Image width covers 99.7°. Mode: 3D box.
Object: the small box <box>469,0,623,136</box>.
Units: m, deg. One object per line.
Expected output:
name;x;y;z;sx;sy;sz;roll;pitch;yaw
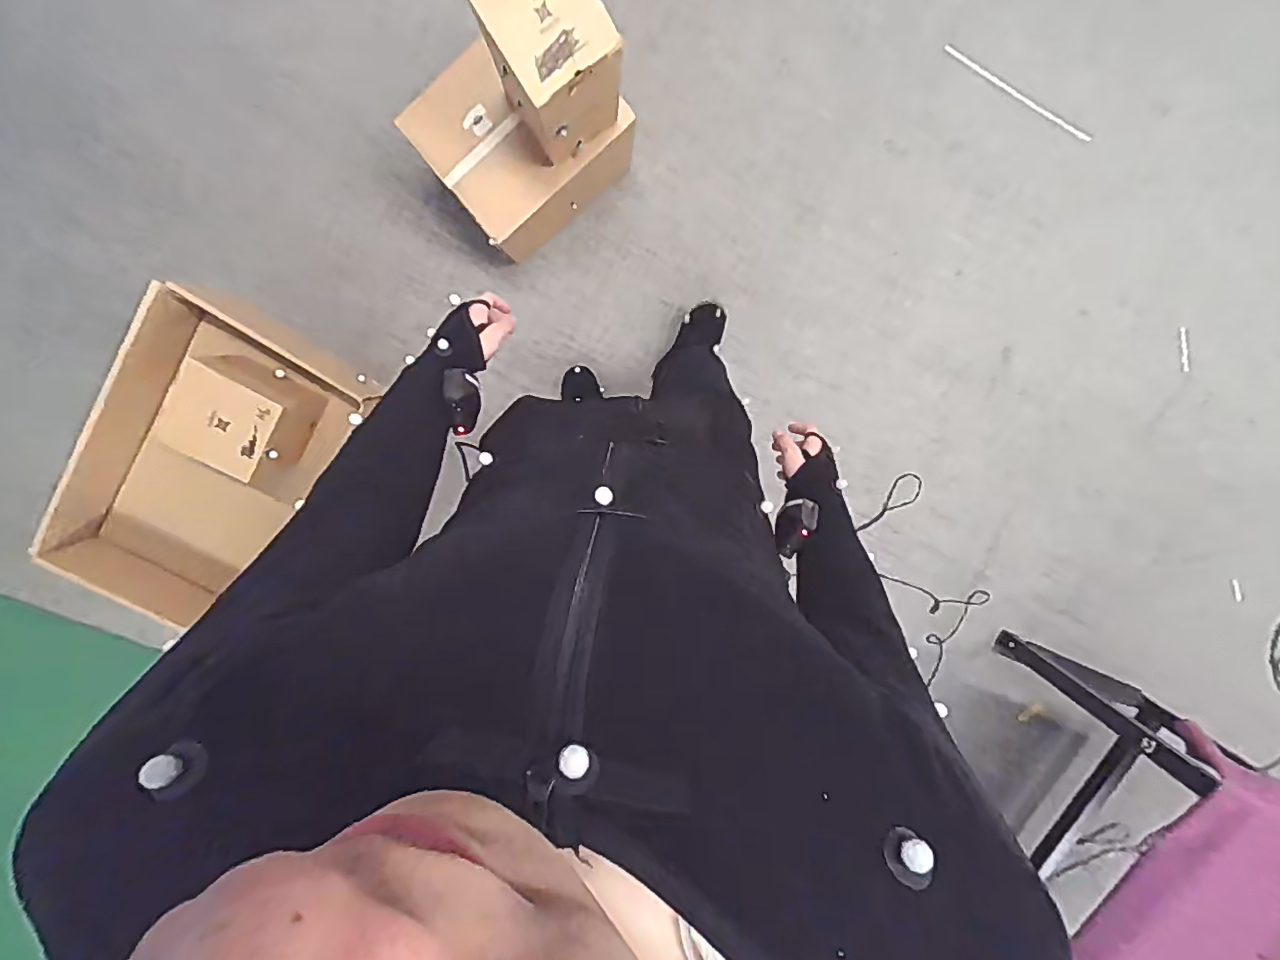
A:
small box;-0.141;-0.698;0.879;0.168;0.176;0.179;-33;104;5

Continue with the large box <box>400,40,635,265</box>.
large box;-0.262;-0.778;1.272;0.408;0.320;0.320;-40;102;7

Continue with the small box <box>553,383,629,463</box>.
small box;-0.135;-0.163;1.533;0.168;0.176;0.179;18;98;-1

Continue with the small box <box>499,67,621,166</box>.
small box;-0.153;-0.746;1.034;0.168;0.176;0.179;-33;105;5
